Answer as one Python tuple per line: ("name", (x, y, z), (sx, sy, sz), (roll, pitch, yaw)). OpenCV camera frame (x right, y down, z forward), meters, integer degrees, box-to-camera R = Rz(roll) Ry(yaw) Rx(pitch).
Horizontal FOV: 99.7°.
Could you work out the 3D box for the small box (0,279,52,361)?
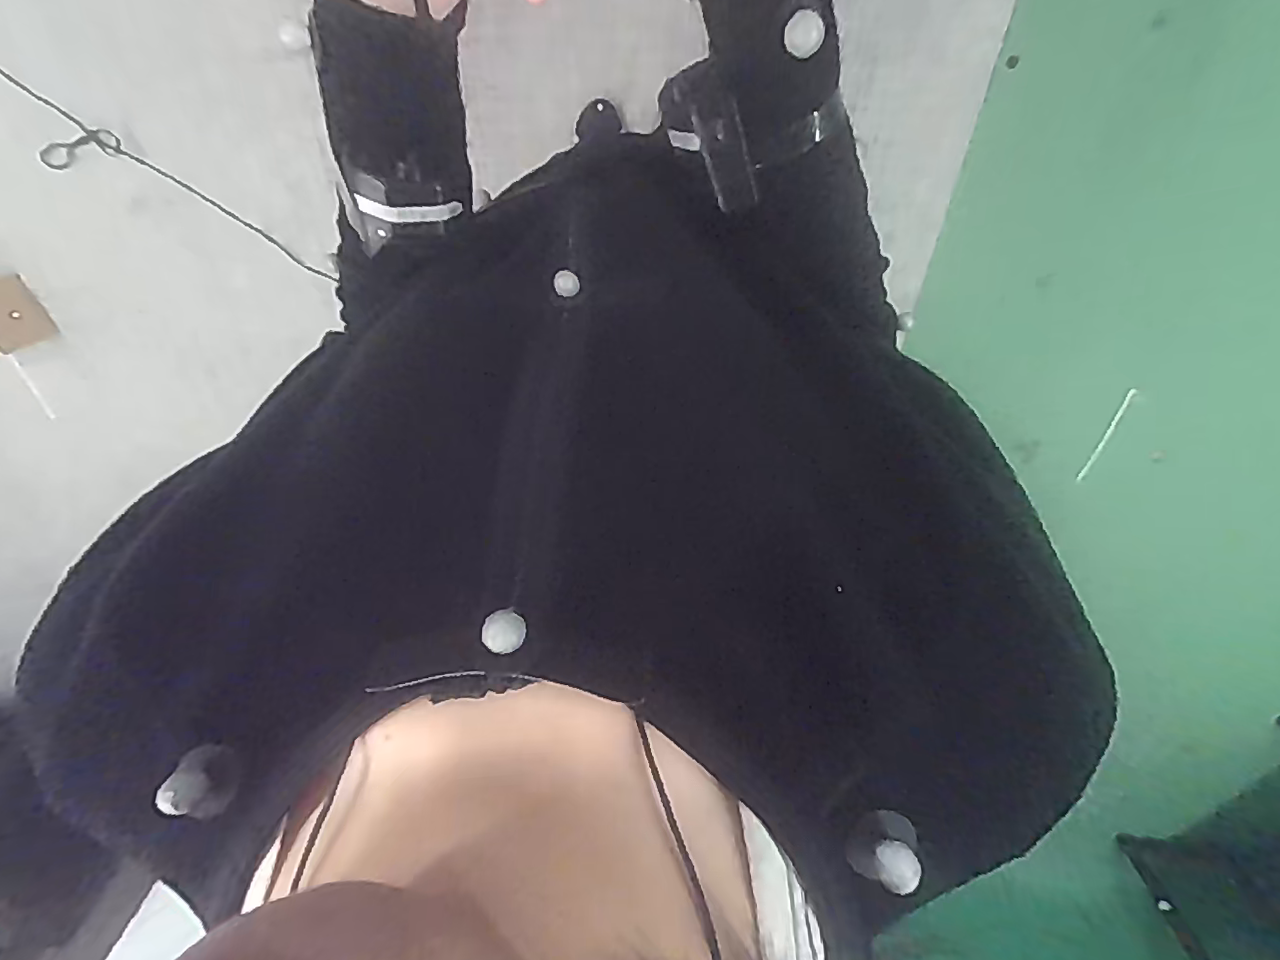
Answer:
("small box", (-1.705, -0.412, 1.400), (0.179, 0.176, 0.168), (-3, 124, 5))
